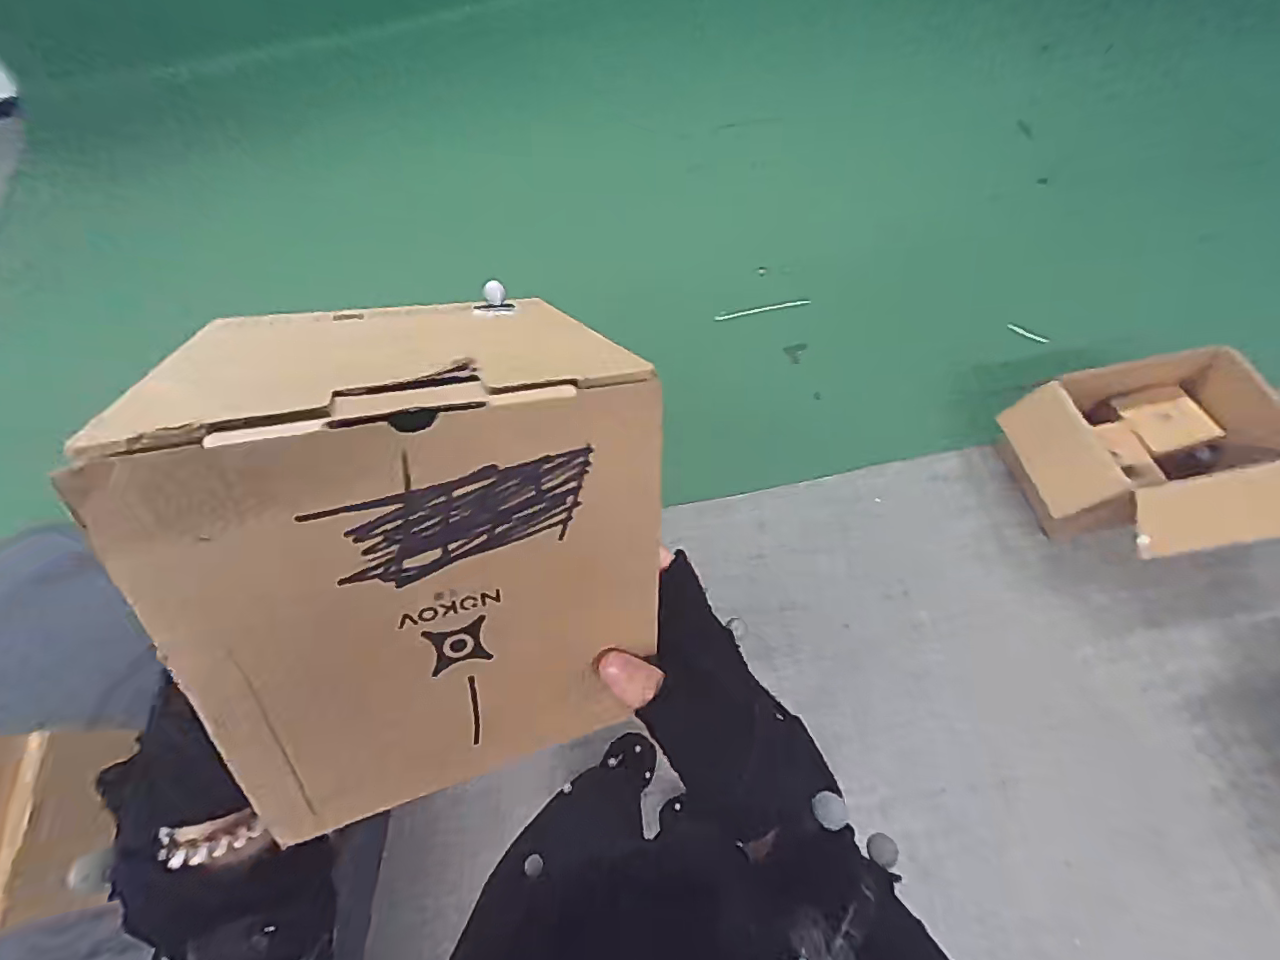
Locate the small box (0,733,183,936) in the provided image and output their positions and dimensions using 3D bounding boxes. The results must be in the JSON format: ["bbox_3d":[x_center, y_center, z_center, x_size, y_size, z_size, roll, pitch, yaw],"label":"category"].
[{"bbox_3d":[-0.645,0.375,0.567,0.179,0.176,0.168,-13,63,-1],"label":"small box"}]
